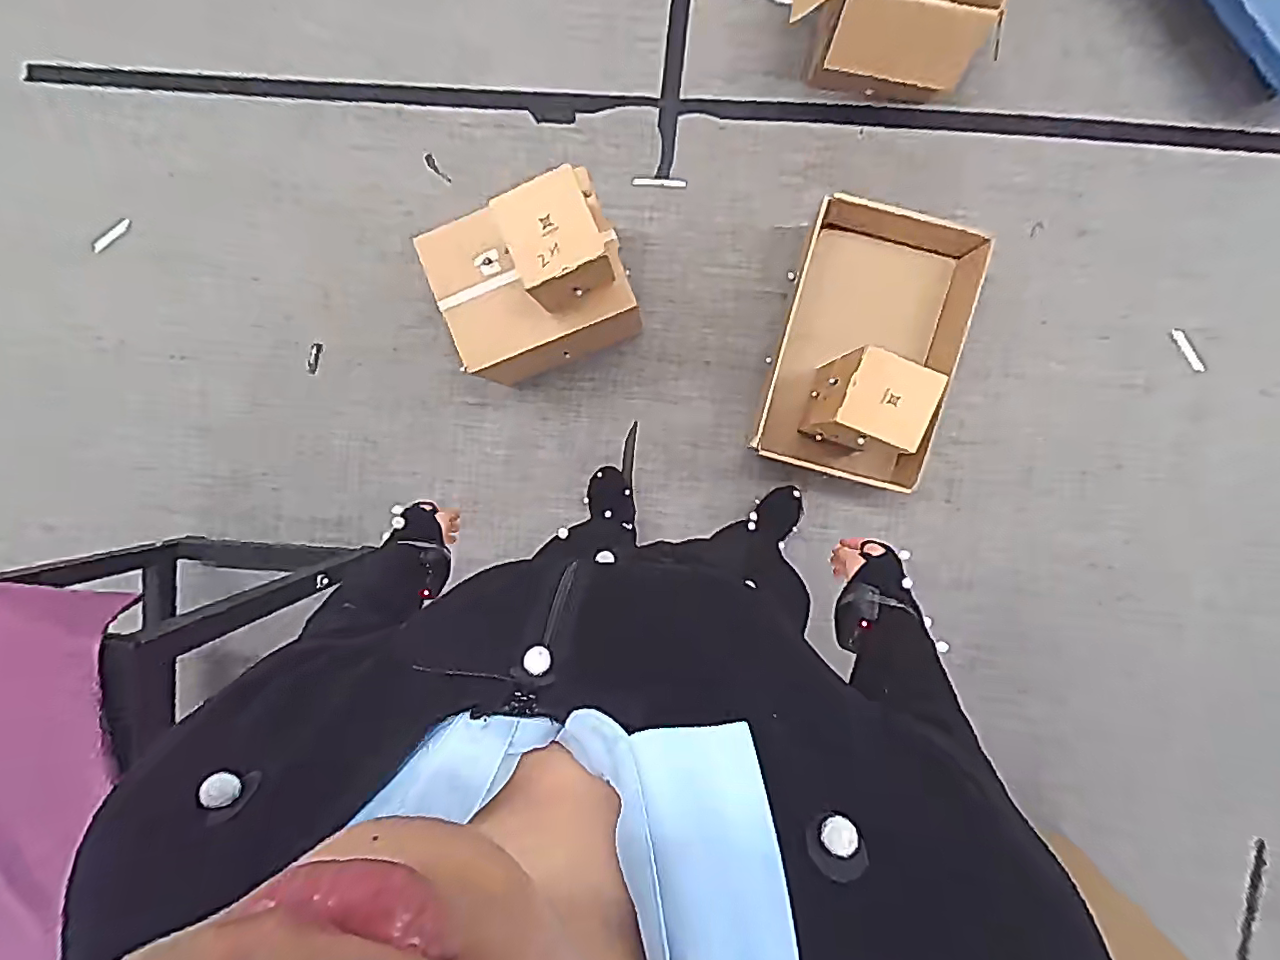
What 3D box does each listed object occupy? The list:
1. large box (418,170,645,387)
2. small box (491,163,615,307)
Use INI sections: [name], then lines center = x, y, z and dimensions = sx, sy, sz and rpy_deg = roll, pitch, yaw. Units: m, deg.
[large box]
center = -0.232, -0.450, 1.300
dimensions = 0.408, 0.320, 0.320
rpy_deg = -21, 92, 5
[small box]
center = -0.159, -0.462, 1.048
dimensions = 0.168, 0.176, 0.179
rpy_deg = -22, 94, 5
